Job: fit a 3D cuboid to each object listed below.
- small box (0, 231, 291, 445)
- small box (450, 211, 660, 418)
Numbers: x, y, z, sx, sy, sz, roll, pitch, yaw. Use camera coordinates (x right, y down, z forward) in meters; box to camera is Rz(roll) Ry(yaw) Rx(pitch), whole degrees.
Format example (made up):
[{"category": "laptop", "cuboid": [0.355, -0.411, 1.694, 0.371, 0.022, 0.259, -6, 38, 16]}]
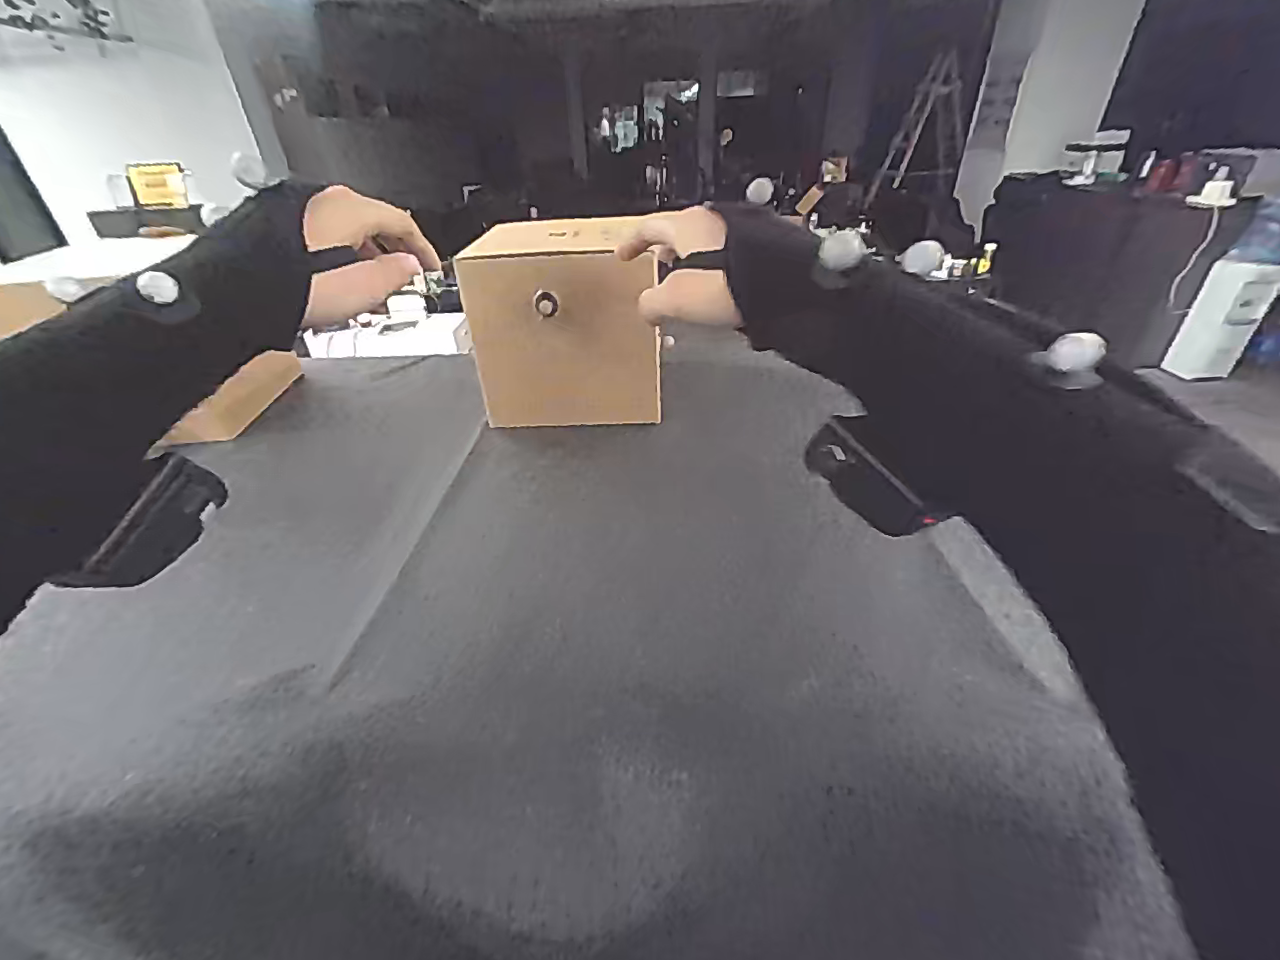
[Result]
[{"category": "small box", "cuboid": [-0.502, -0.152, 0.562, 0.168, 0.176, 0.179, -6, 34, -3]}, {"category": "small box", "cuboid": [-0.069, -0.173, 0.562, 0.179, 0.176, 0.168, -1, 34, 2]}]
